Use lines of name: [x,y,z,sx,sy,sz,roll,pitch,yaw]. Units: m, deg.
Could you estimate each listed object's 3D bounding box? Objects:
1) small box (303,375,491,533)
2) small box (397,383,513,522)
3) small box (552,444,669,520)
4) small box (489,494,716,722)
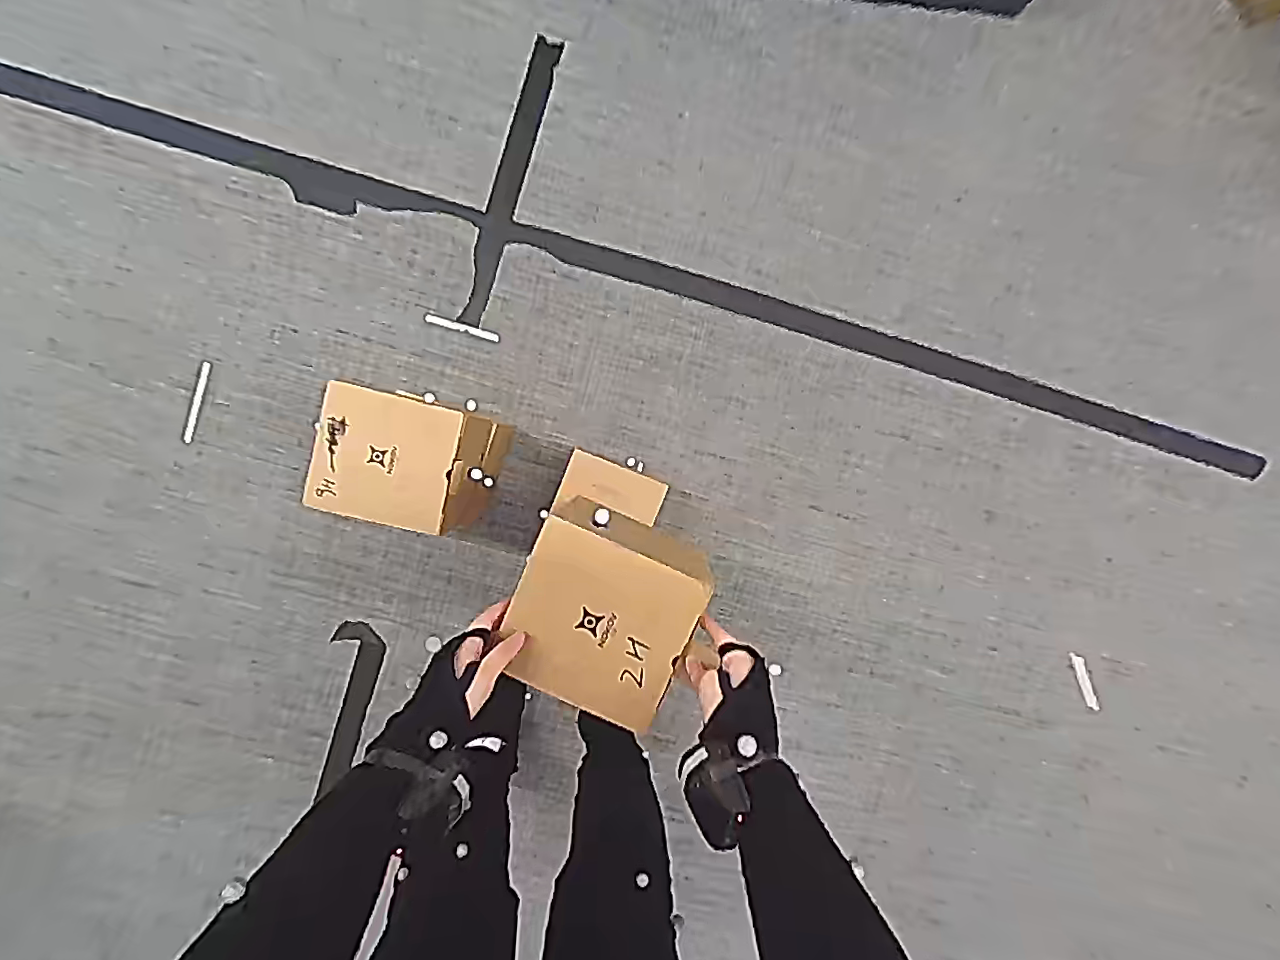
small box: [-0.322,-0.038,0.754,0.179,0.176,0.168,15,93,-5]
small box: [-0.328,-0.047,0.918,0.168,0.176,0.179,19,92,-5]
small box: [-0.062,0.047,0.944,0.168,0.176,0.179,23,92,-6]
small box: [-0.034,0.123,0.600,0.179,0.176,0.168,24,96,1]
